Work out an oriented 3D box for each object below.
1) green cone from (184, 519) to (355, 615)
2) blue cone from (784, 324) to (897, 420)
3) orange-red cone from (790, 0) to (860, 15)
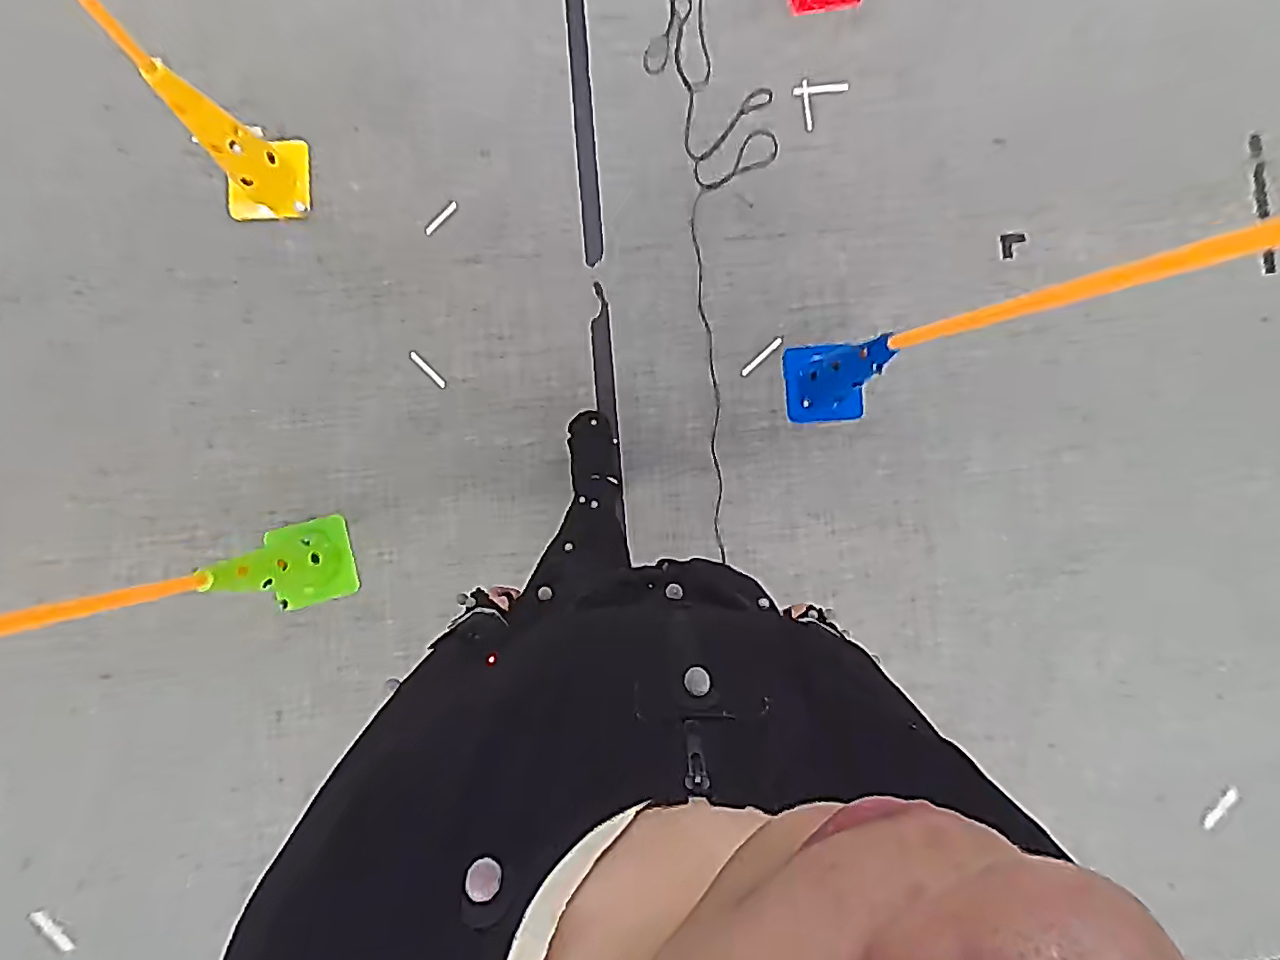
[{"bbox_3d":[-0.801,0.195,1.147,0.200,0.368,0.202,-16,85,-4],"label":"green cone"},{"bbox_3d":[0.480,-0.264,1.243,0.193,0.380,0.192,-2,86,-3],"label":"blue cone"},{"bbox_3d":[0.495,-1.374,1.296,0.199,0.360,0.198,-10,87,-2],"label":"orange-red cone"}]
